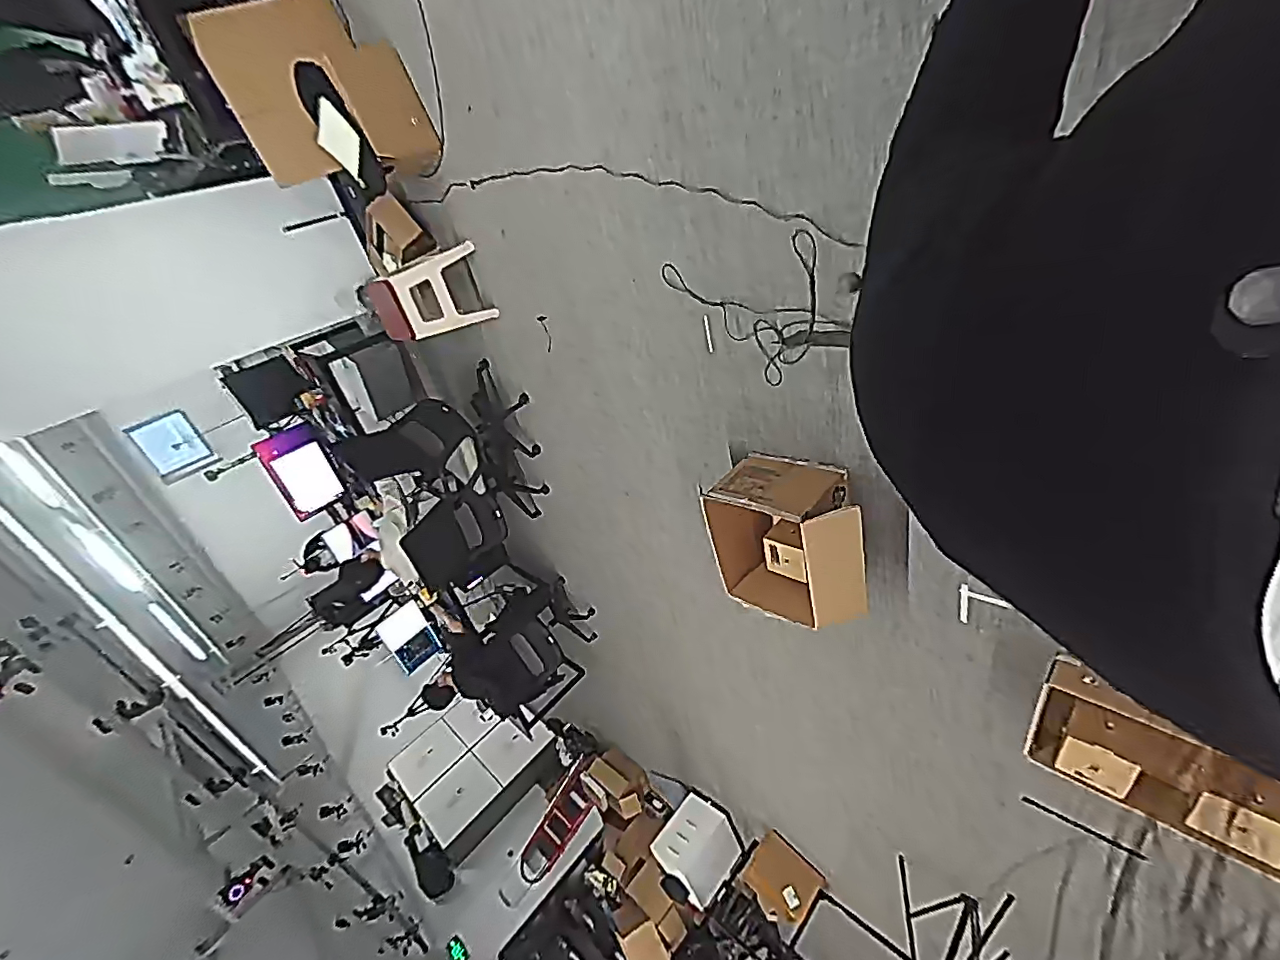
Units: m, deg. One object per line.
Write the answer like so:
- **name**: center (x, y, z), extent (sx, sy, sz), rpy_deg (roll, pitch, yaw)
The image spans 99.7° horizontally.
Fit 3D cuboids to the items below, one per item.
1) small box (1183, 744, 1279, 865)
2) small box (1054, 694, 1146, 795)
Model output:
- **small box**: center (1.563, 0.829, 1.399), extent (0.179, 0.176, 0.168), rpy_deg (20, 134, 42)
- **small box**: center (1.360, 0.773, 1.598), extent (0.168, 0.176, 0.179), rpy_deg (20, 133, 39)
